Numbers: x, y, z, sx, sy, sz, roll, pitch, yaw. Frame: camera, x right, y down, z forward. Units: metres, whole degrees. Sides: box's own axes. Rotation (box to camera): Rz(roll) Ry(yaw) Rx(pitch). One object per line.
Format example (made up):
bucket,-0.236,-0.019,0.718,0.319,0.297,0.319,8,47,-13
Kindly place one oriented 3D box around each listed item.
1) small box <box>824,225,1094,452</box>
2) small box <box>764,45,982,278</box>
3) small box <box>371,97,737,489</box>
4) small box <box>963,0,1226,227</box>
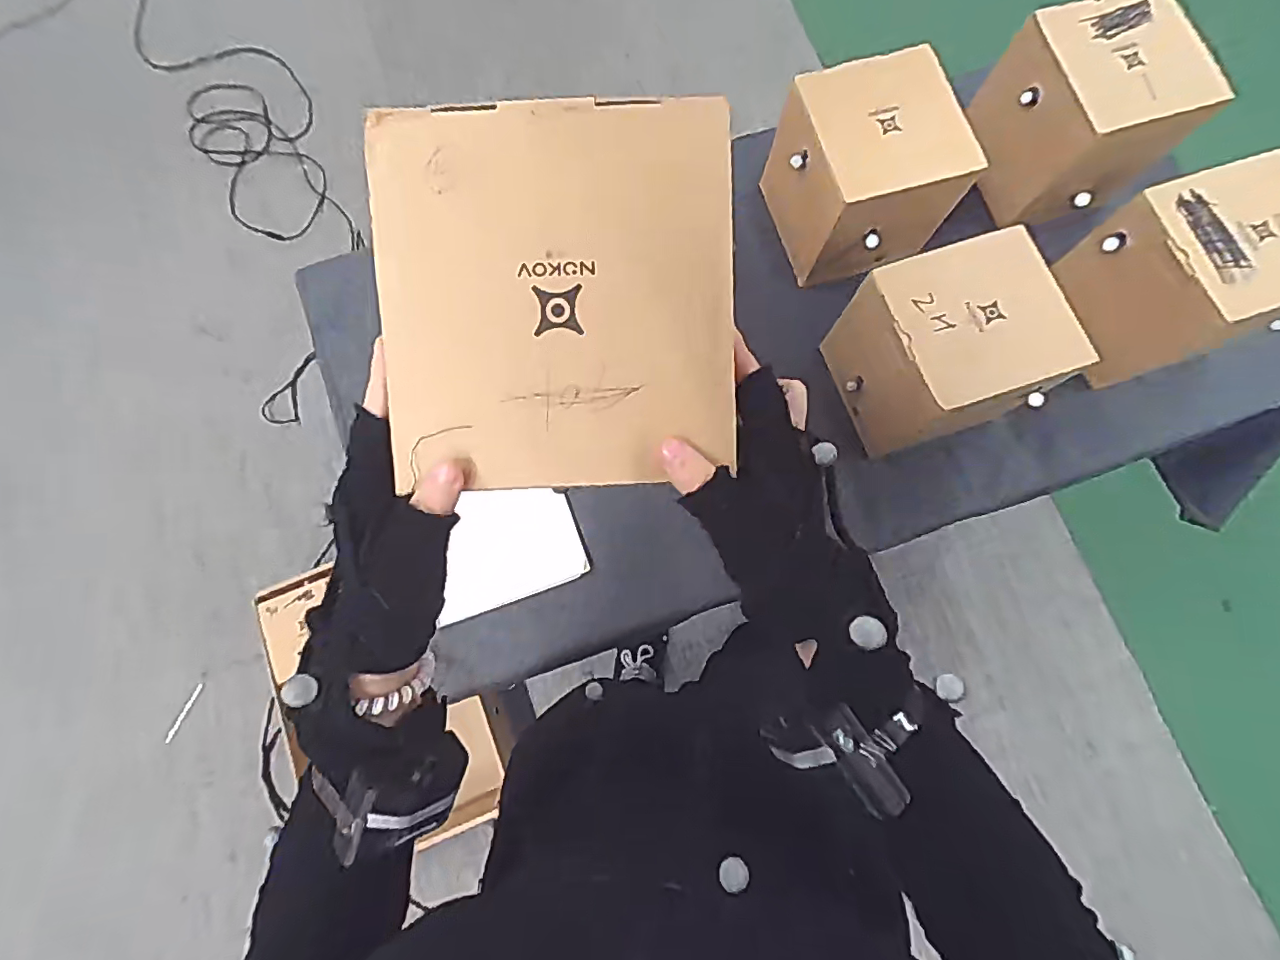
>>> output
small box,0.342,-0.149,0.619,0.179,0.176,0.168,-18,77,-3
small box,0.271,-0.378,0.675,0.168,0.176,0.179,-16,78,-3
small box,-0.038,-0.093,0.330,0.168,0.176,0.179,-2,97,0
small box,0.548,-0.463,0.689,0.168,0.176,0.179,-16,78,-3
